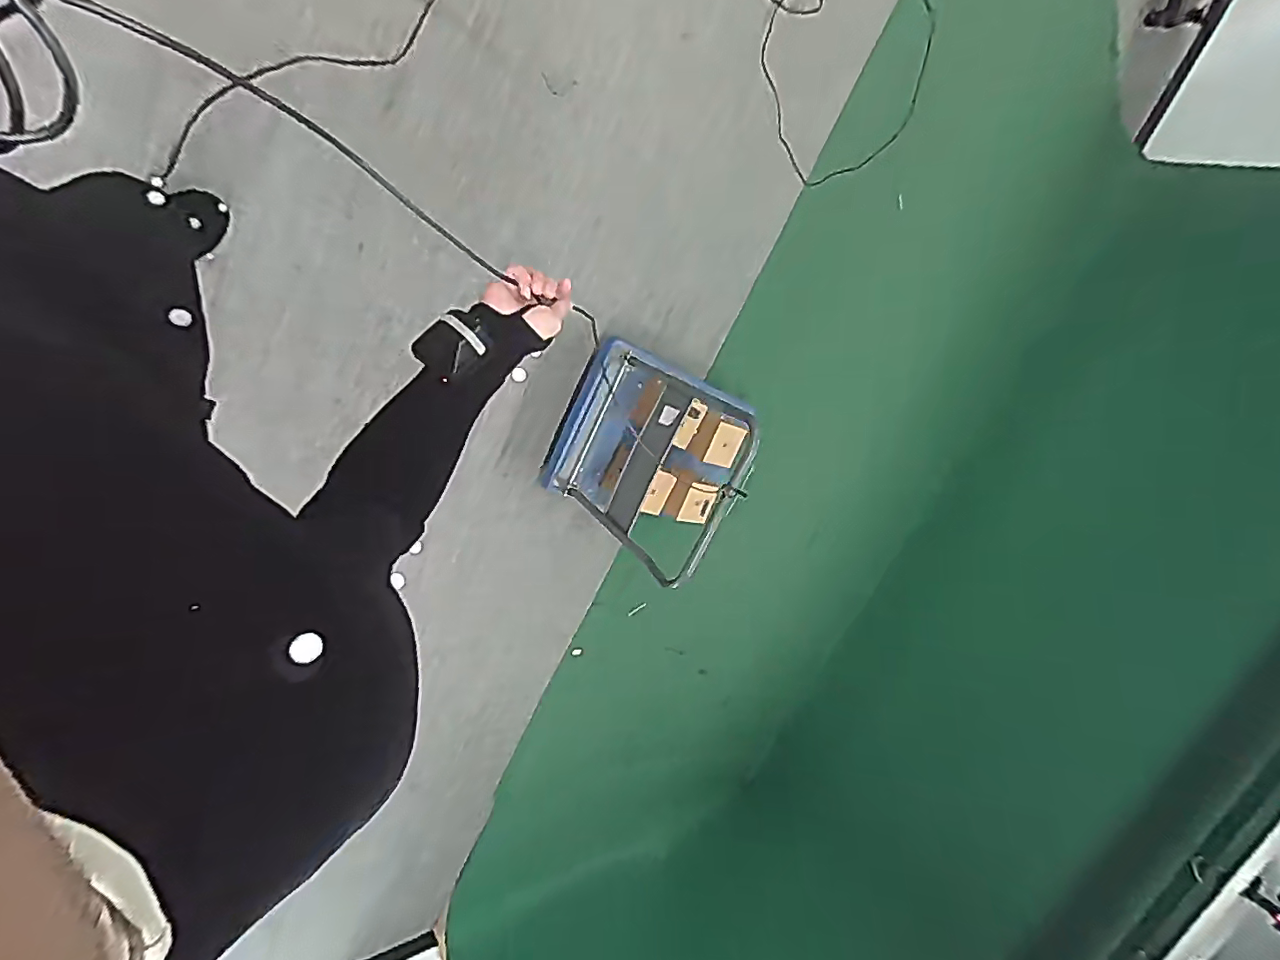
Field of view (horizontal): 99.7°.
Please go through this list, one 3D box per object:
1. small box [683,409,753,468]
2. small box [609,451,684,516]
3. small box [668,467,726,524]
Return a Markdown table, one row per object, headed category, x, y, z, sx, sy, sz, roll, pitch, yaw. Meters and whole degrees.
| category | x | y | z | sx | sy | sz | roll | pitch | yaw |
| --- | --- | --- | --- | --- | --- | --- | --- | --- | --- |
| small box | 0.299 | -0.165 | 2.106 | 0.179 | 0.176 | 0.168 | 10 | 109 | -44 |
| small box | 0.020 | 0.011 | 1.974 | 0.179 | 0.176 | 0.168 | 17 | 104 | -44 |
| small box | 0.206 | 0.061 | 2.163 | 0.179 | 0.176 | 0.168 | 11 | 107 | -43 |
